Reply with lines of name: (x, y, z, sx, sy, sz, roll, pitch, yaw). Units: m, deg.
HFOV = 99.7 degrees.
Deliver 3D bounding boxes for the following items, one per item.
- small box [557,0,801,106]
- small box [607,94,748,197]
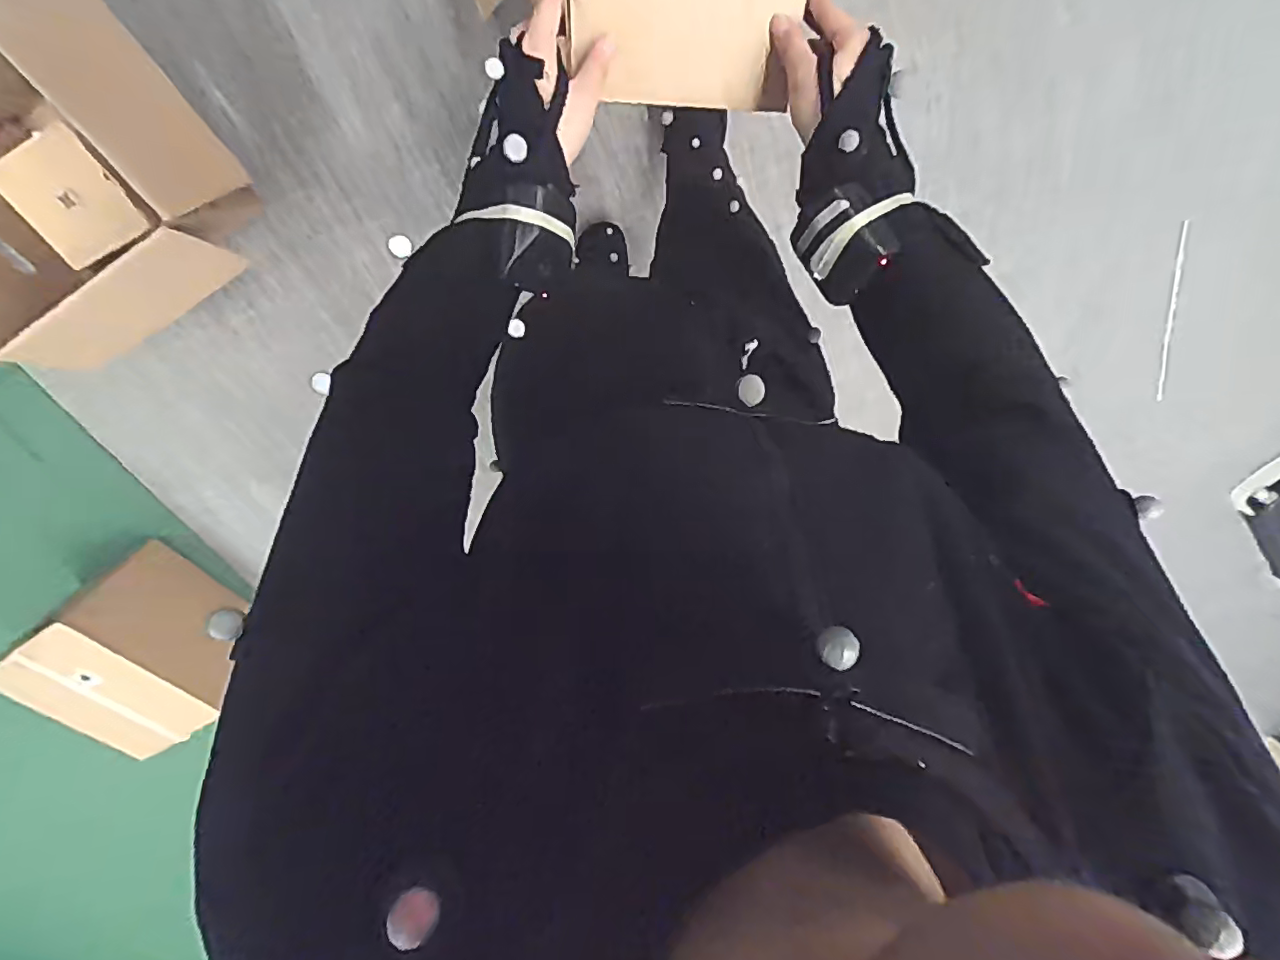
small box: (0.021, -0.406, 0.431, 0.179, 0.176, 0.168, -3, 128, -8)
small box: (0.062, -0.619, 0.920, 0.179, 0.176, 0.168, 6, 80, -36)
